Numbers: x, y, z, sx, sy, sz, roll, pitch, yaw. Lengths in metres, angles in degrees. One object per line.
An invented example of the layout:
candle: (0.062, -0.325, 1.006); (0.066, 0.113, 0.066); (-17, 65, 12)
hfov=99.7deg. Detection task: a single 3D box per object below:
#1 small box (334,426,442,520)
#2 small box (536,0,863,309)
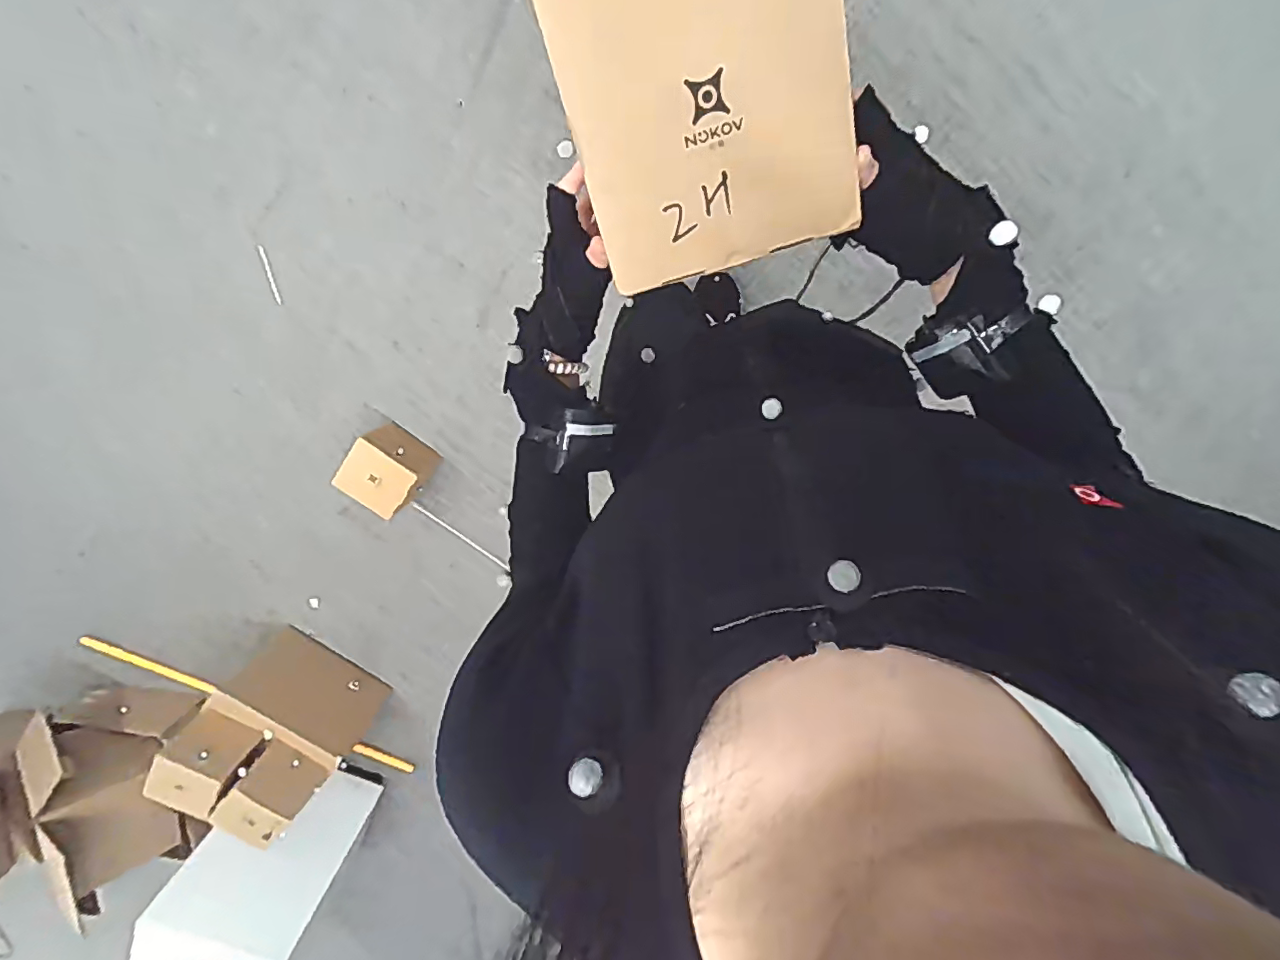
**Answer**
small box: (-0.676, -0.028, 1.468); (0.179, 0.176, 0.168); (37, 108, -11)
small box: (0.043, -0.243, 0.388); (0.168, 0.176, 0.179); (-14, 117, 9)
